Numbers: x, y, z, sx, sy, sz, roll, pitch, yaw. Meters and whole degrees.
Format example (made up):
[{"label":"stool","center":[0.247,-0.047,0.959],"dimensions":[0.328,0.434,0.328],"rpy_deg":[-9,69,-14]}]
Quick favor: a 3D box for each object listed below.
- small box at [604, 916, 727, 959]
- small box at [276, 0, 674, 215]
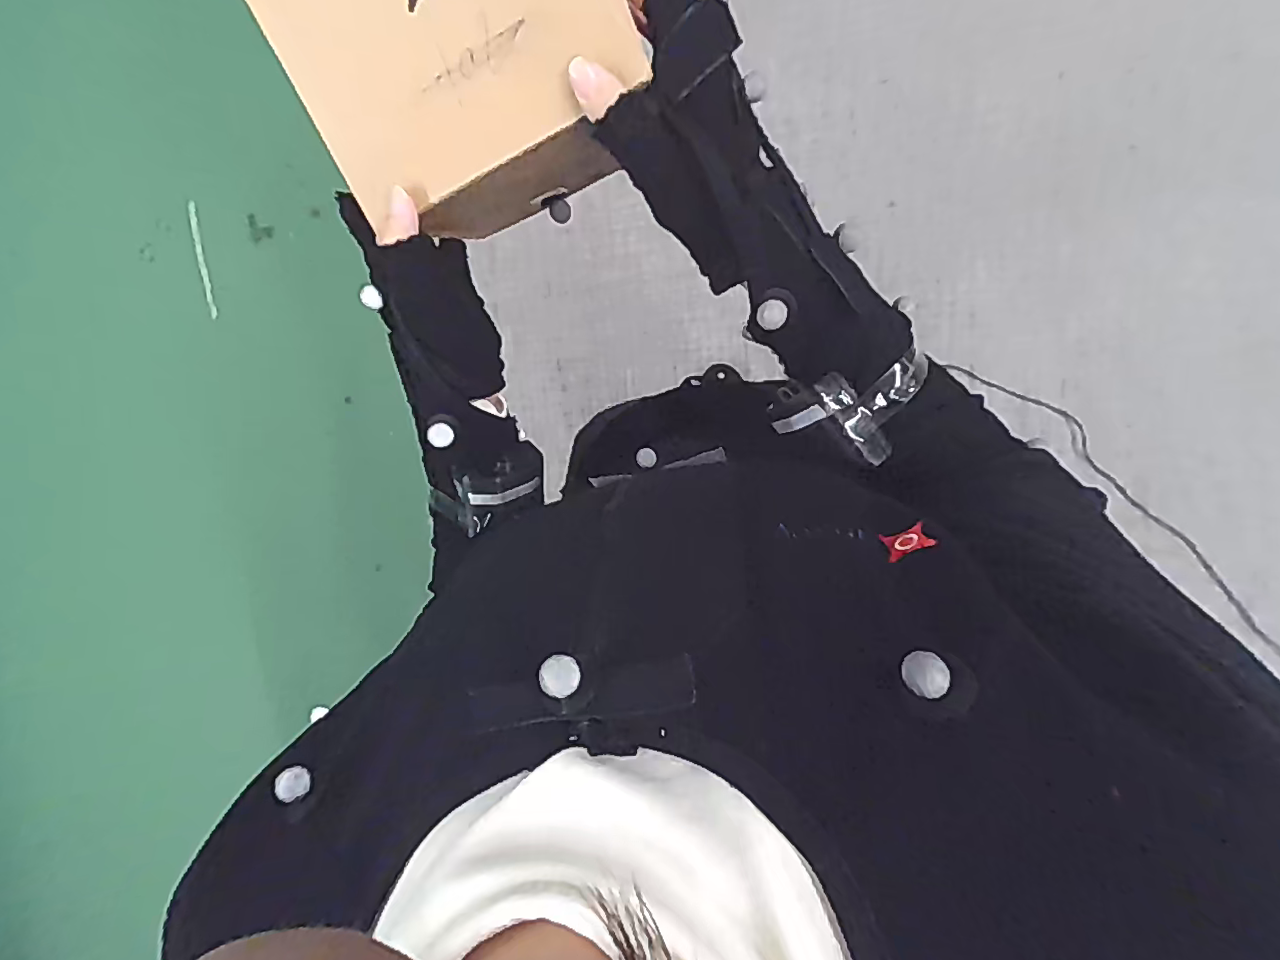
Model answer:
[{"label":"small box","center":[0.033,0.756,0.750],"dimensions":[0.179,0.176,0.168],"rpy_deg":[-2,102,12]},{"label":"small box","center":[-0.088,-0.279,0.318],"dimensions":[0.168,0.176,0.179],"rpy_deg":[-19,109,16]}]
